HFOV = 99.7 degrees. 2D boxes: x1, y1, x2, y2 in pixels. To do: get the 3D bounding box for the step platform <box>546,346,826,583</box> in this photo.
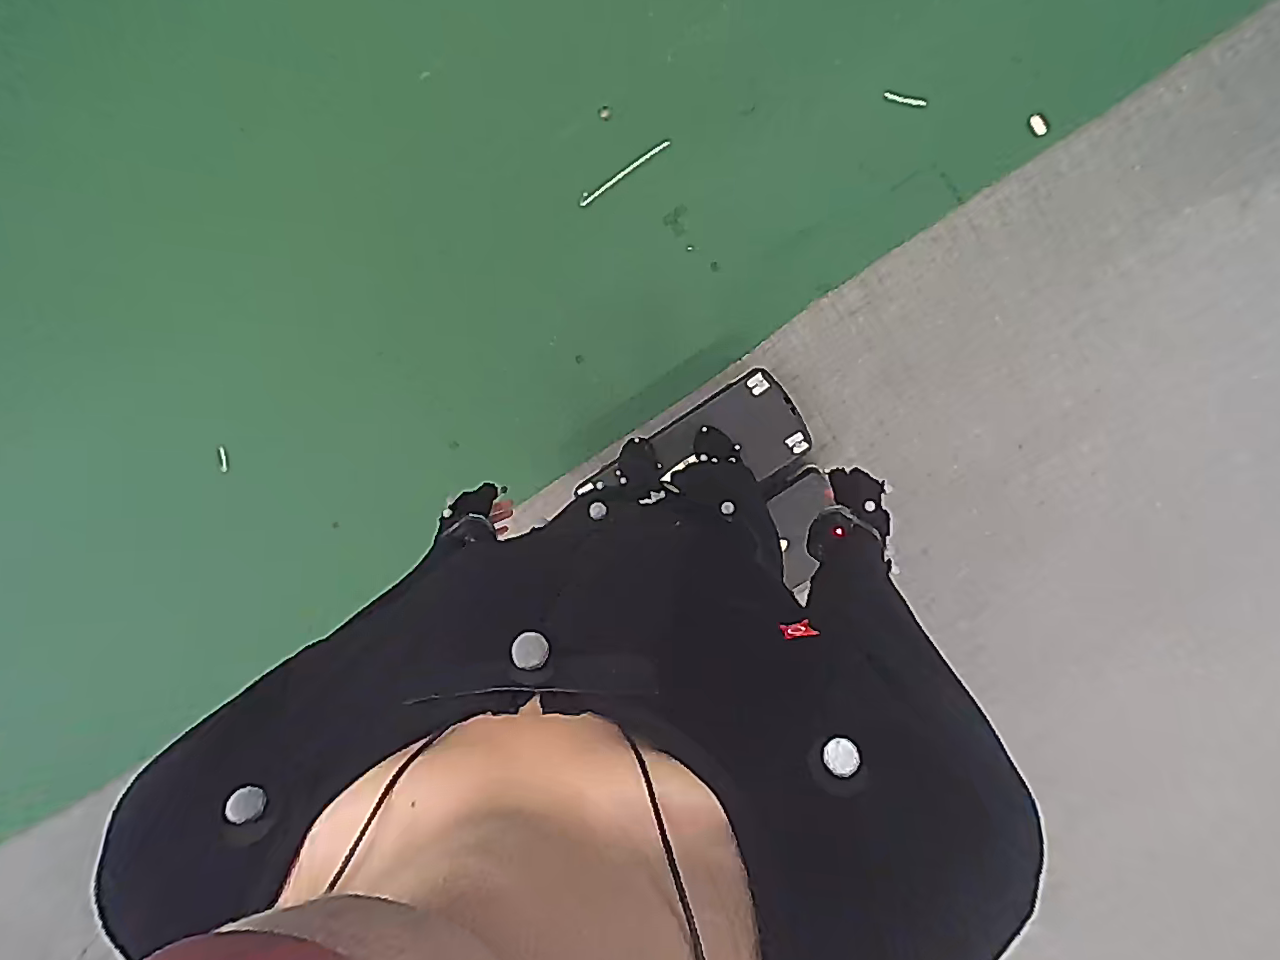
[{"bbox_3d":[0.106,-0.039,1.378,0.684,0.204,0.286,-34,93,8],"label":"step platform"}]
